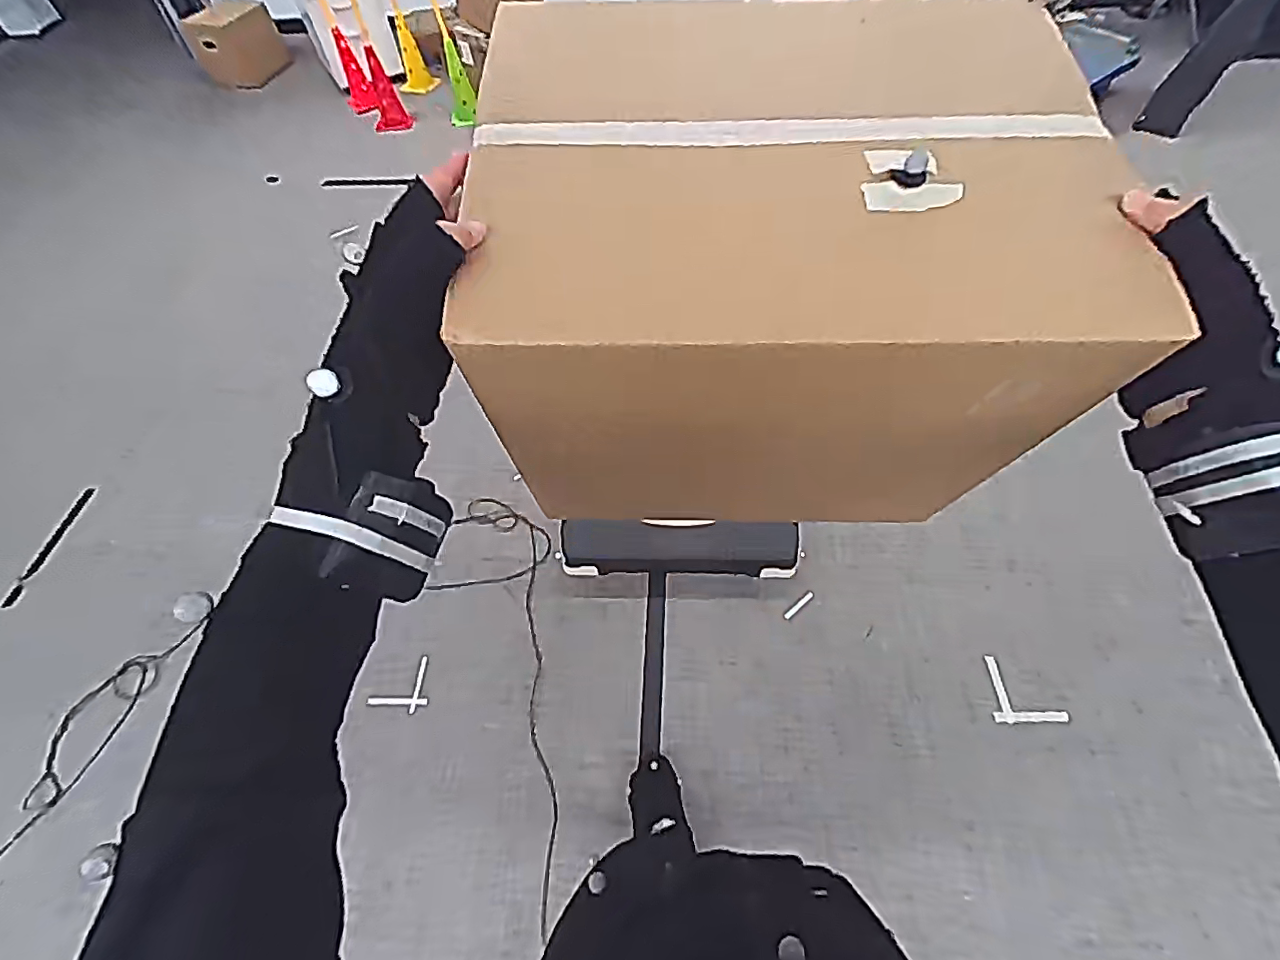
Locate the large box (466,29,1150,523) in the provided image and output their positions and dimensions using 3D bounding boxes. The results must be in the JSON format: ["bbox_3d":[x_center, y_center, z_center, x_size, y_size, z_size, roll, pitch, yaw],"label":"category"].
[{"bbox_3d":[0.094,-0.154,0.503,0.408,0.320,0.320,0,68,0],"label":"large box"}]
